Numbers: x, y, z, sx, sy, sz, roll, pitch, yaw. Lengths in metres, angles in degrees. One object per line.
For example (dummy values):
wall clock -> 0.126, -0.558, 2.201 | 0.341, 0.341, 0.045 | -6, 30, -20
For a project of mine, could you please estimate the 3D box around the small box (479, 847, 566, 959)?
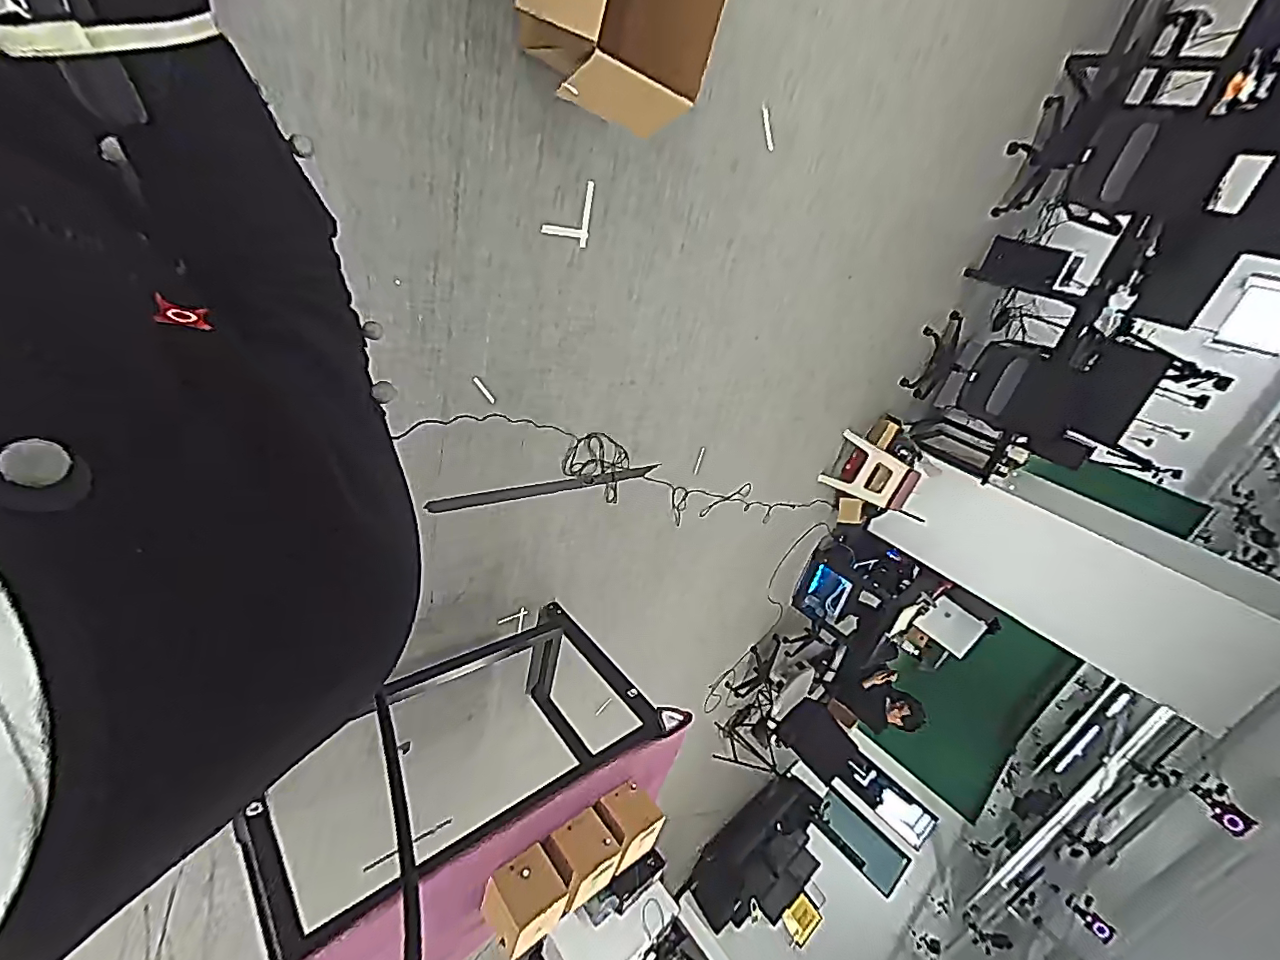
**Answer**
small box -> -0.343, 1.211, 1.549 | 0.168, 0.176, 0.179 | -9, 125, -45
